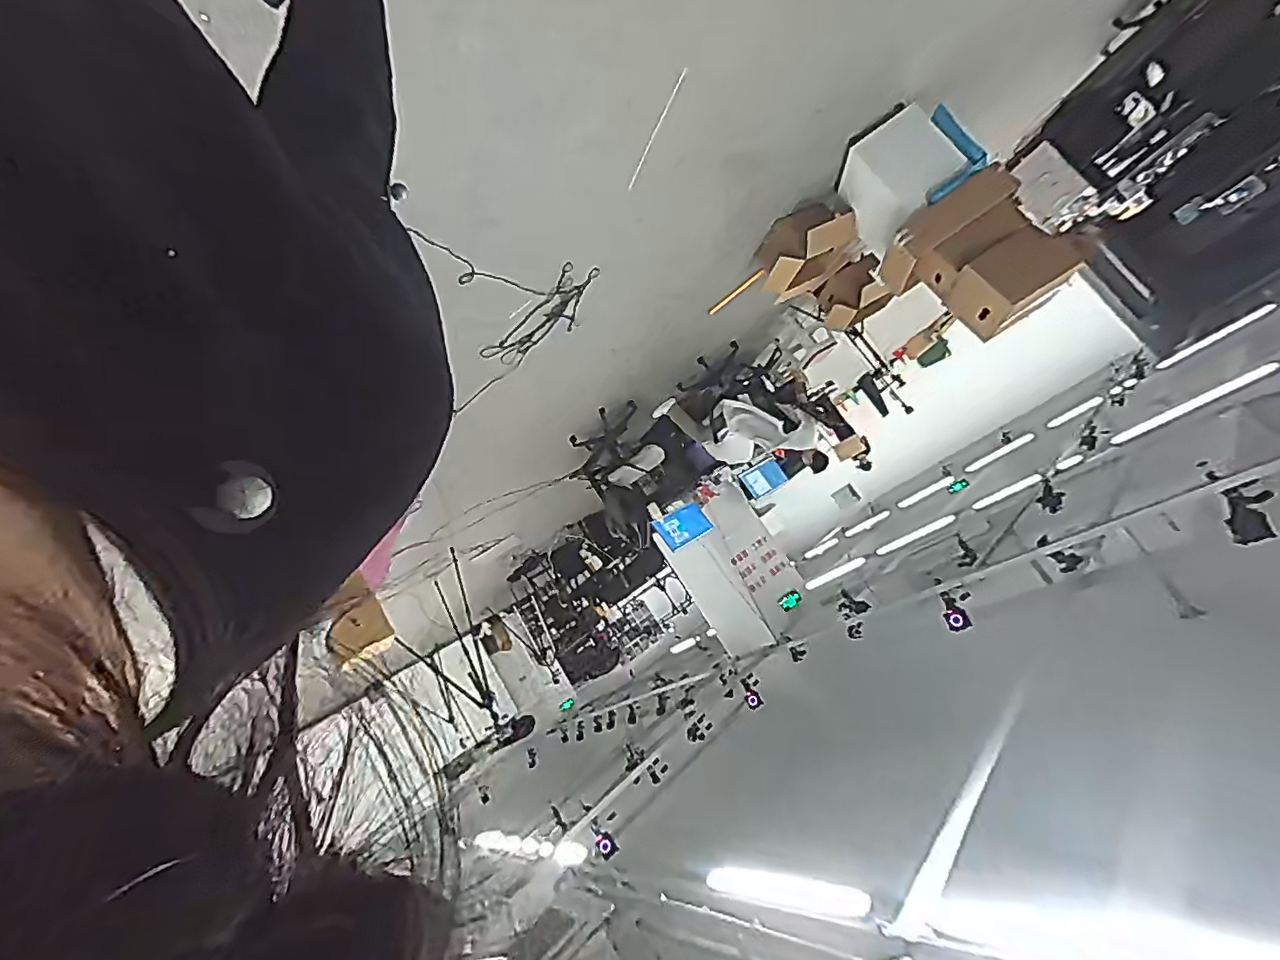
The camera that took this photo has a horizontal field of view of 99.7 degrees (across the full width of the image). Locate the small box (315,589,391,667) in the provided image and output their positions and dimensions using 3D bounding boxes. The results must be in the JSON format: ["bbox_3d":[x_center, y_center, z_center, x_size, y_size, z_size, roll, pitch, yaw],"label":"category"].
[{"bbox_3d":[-0.939,0.476,1.762,0.168,0.176,0.179,-25,166,-40],"label":"small box"}]

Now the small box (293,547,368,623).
[{"bbox_3d":[-1.032,0.347,1.799,0.168,0.176,0.179,-26,167,-38],"label":"small box"}]
